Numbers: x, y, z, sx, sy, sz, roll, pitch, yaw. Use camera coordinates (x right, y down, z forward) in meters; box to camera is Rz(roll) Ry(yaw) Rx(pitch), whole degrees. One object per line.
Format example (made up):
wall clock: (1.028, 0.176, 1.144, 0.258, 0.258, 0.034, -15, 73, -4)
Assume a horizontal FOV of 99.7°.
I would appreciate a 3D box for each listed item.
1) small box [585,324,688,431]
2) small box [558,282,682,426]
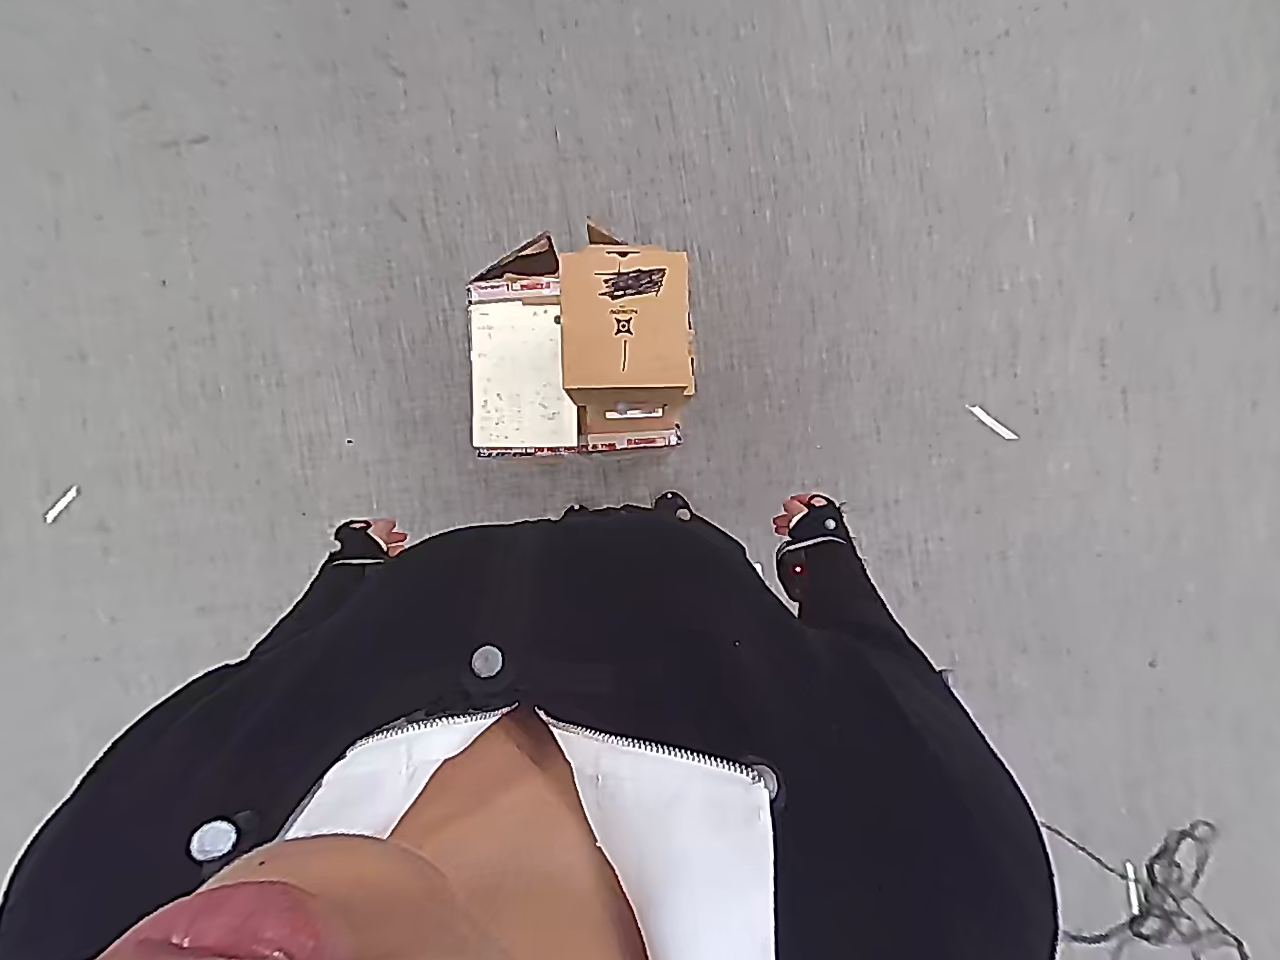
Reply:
small box: (-0.017, -0.179, 0.956, 0.179, 0.176, 0.168, -5, 90, -1)
small box: (-0.031, -0.173, 0.791, 0.168, 0.176, 0.179, -1, 92, -2)
